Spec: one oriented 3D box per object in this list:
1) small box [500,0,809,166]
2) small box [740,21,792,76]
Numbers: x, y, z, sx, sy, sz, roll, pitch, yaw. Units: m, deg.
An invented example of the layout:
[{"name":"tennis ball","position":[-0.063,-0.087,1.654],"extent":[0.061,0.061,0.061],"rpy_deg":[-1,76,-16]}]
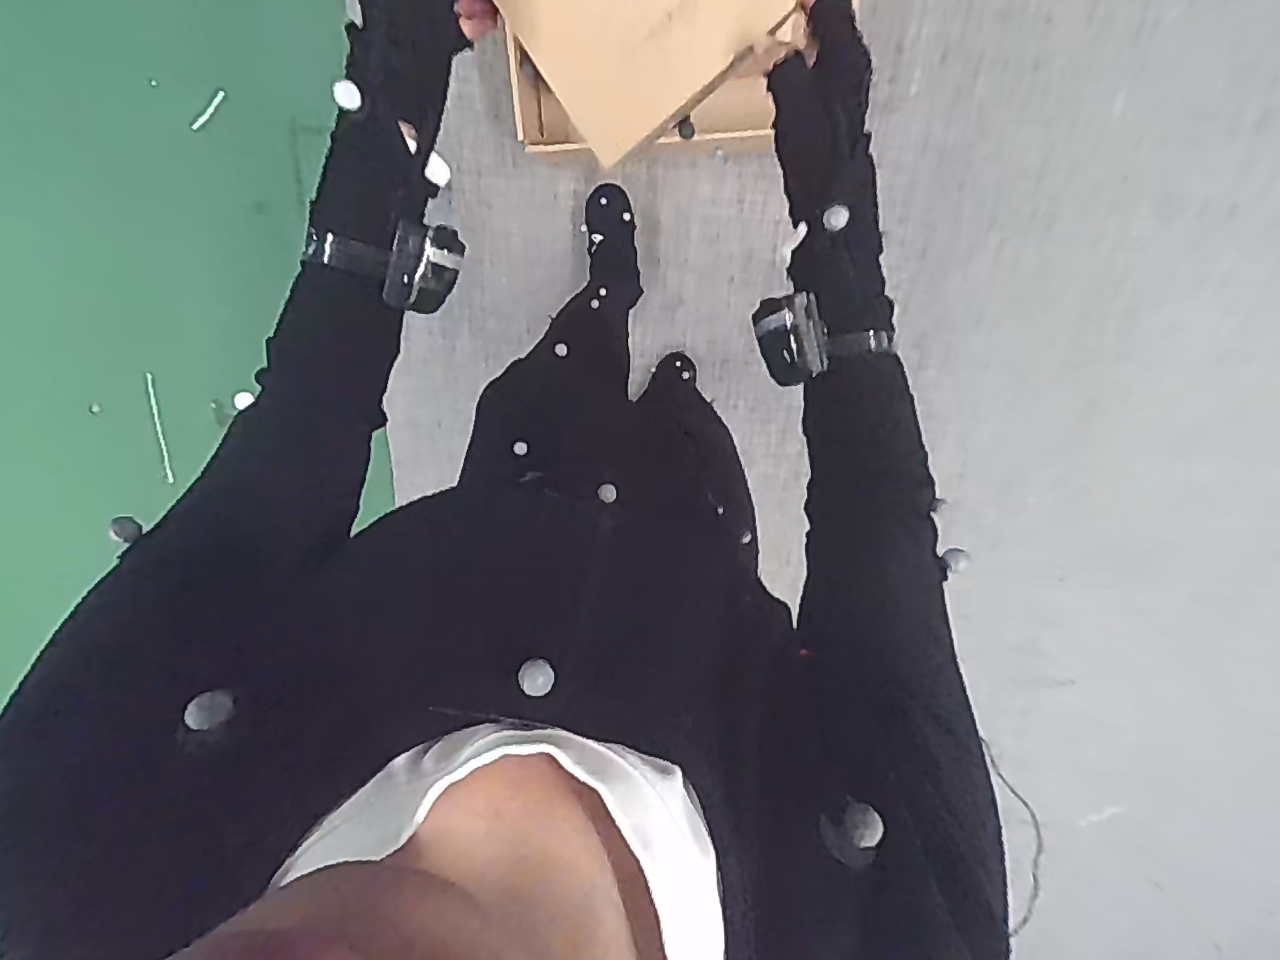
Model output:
[{"name":"small box","position":[-0.003,-0.368,0.408],"extent":[0.168,0.176,0.179],"rpy_deg":[-32,114,20]},{"name":"small box","position":[0.180,-0.856,0.980],"extent":[0.179,0.176,0.168],"rpy_deg":[1,111,5]}]
